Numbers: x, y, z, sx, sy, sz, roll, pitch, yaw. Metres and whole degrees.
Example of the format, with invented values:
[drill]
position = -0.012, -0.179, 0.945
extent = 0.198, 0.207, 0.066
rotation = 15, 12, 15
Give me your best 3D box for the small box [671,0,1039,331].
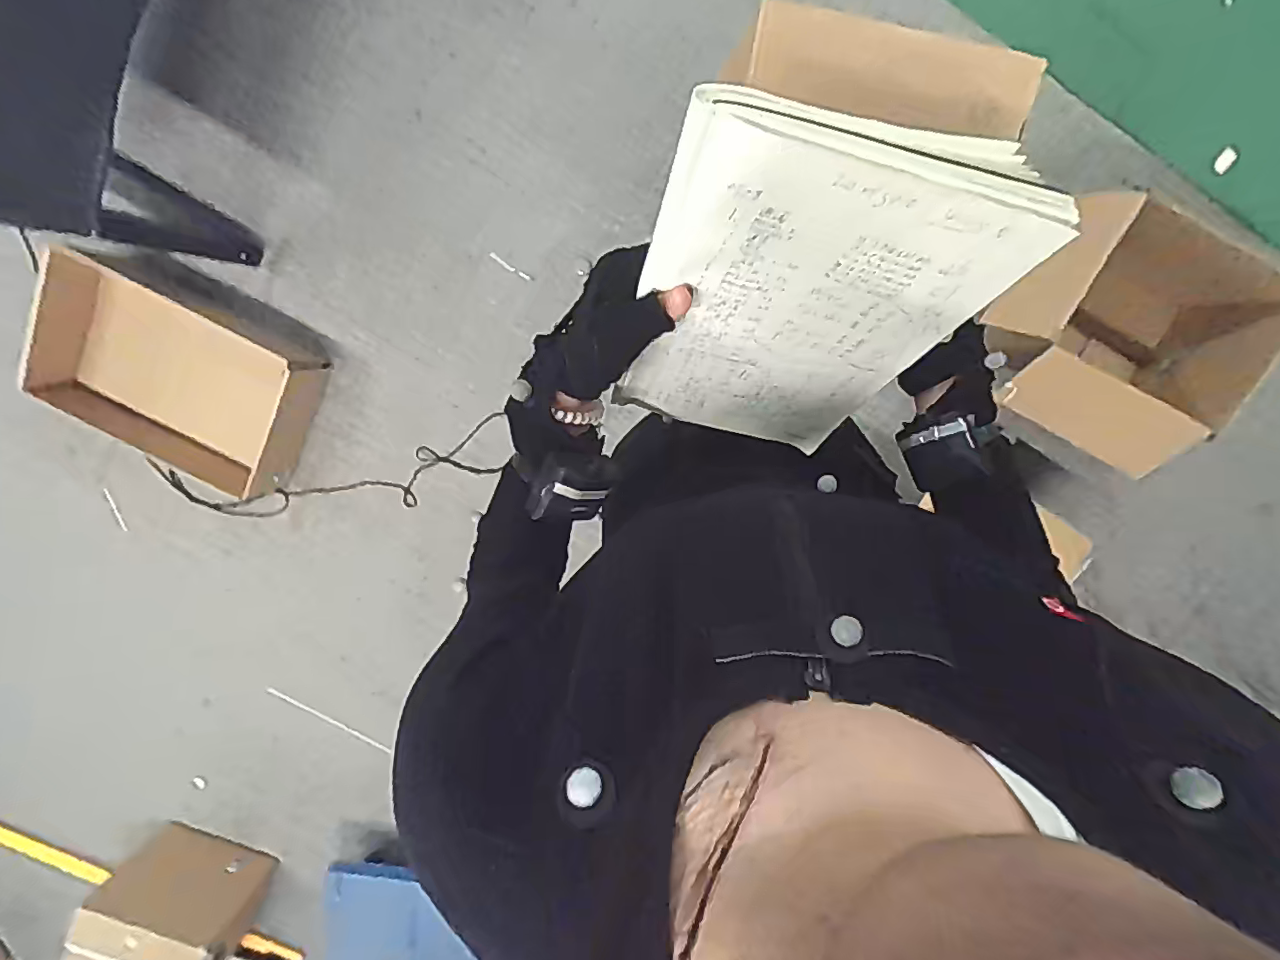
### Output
[small box]
position = 0.130, -0.215, 0.405
extent = 0.179, 0.176, 0.168
rotation = 7, 110, -6
